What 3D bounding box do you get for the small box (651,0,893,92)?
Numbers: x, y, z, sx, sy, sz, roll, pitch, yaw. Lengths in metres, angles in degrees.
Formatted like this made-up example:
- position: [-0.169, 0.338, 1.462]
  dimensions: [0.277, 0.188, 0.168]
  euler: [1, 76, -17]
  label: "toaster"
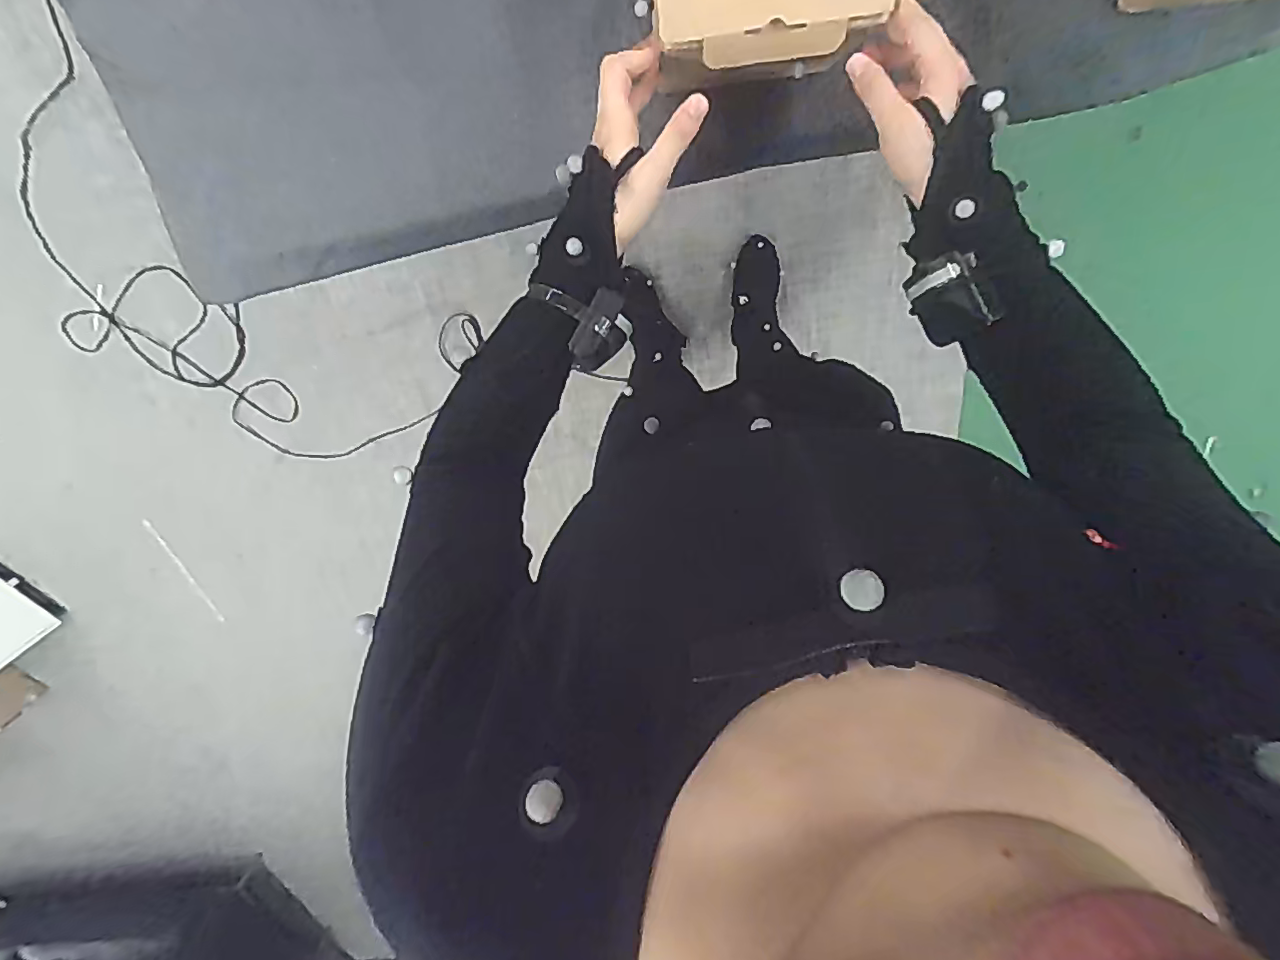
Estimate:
- position: [0.090, -0.424, 0.421]
  dimensions: [0.168, 0.176, 0.179]
  euler: [-6, 116, 5]
  label: "small box"
